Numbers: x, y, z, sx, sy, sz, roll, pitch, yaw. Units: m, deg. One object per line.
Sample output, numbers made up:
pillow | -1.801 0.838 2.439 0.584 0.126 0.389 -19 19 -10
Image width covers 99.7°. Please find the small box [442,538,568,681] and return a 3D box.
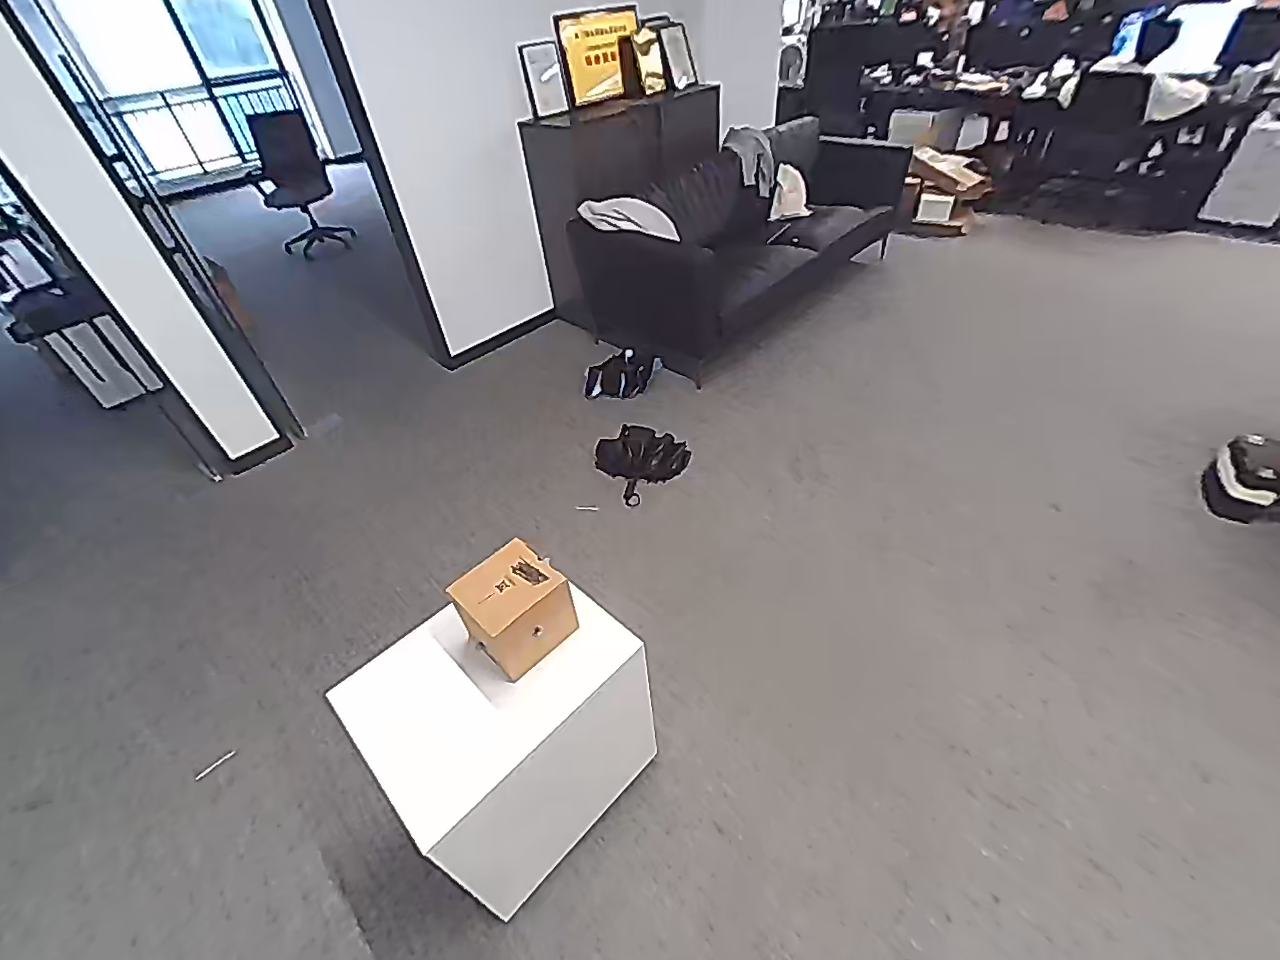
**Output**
small box | -0.257 0.256 1.074 0.168 0.176 0.179 31 53 33
